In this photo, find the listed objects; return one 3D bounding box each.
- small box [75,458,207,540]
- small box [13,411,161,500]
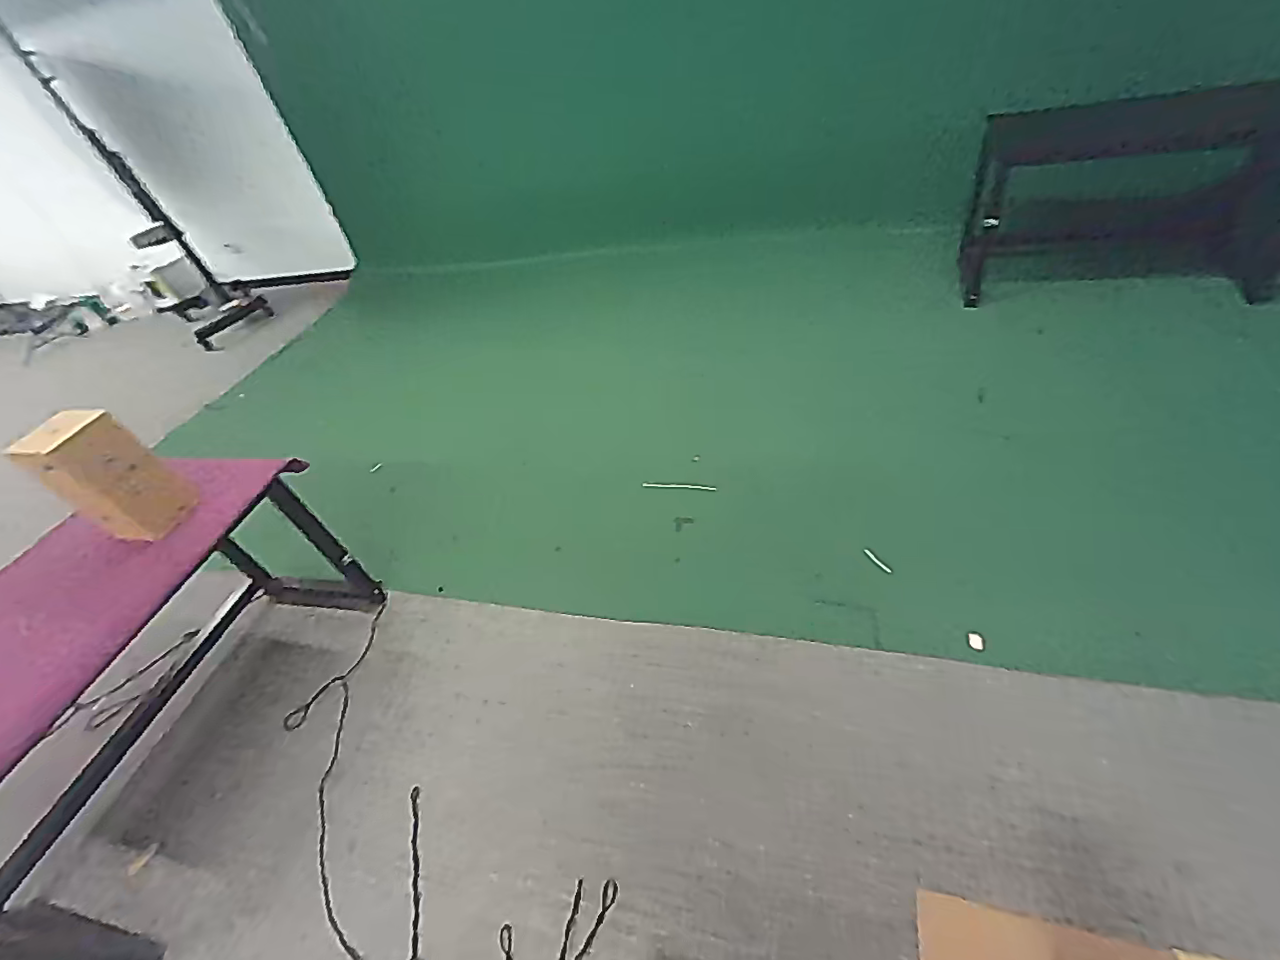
[{"bbox_3d":[-1.393,0.054,1.522,0.179,0.176,0.168,0,46,17],"label":"small box"},{"bbox_3d":[-1.426,-0.062,1.409,0.179,0.176,0.168,1,45,18],"label":"small box"}]
